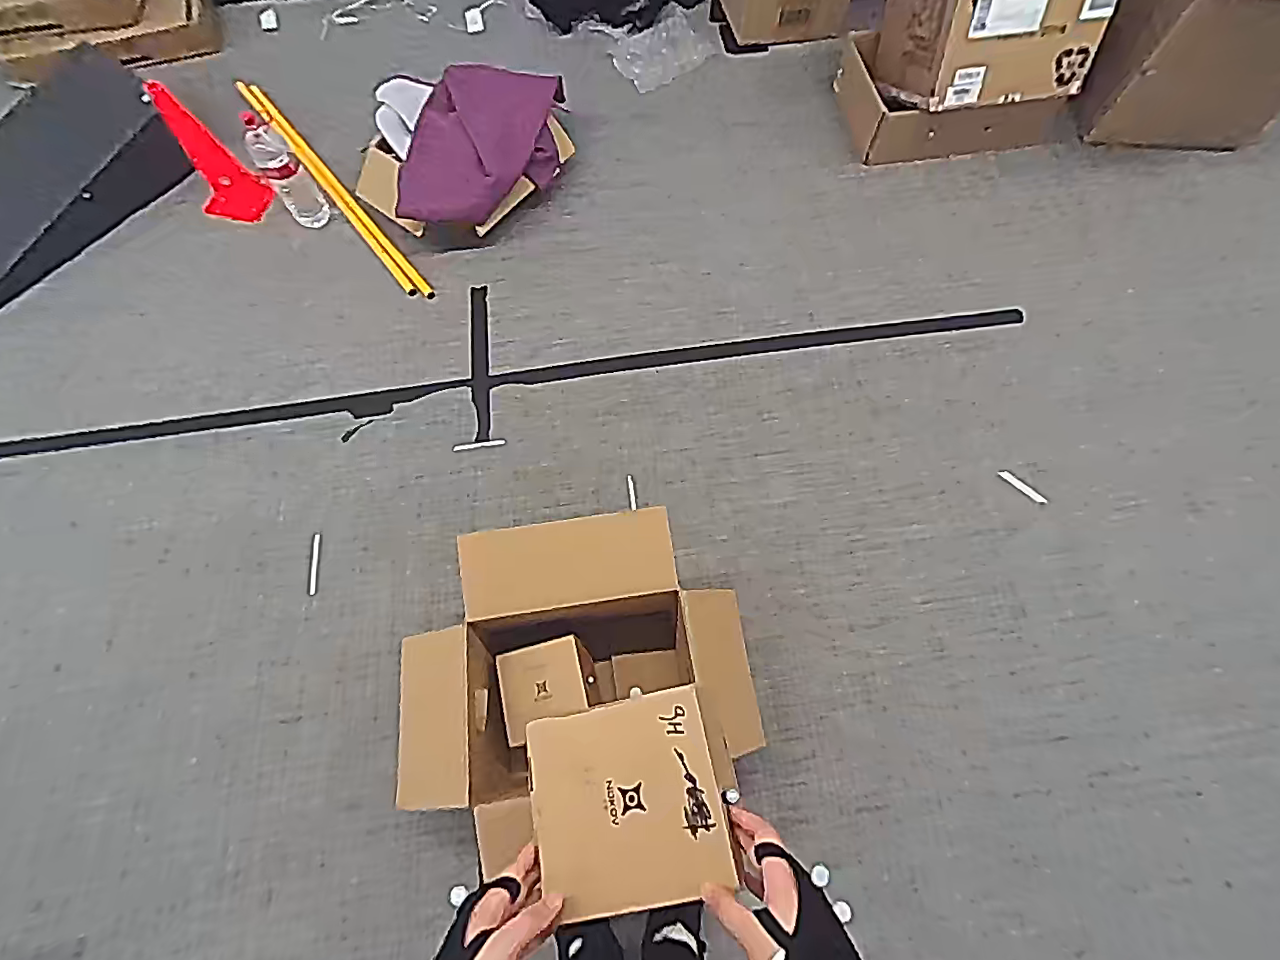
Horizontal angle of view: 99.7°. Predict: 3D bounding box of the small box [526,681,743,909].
[{"bbox_3d":[0.000,0.320,0.575,0.179,0.176,0.168,-16,65,9],"label":"small box"}]
